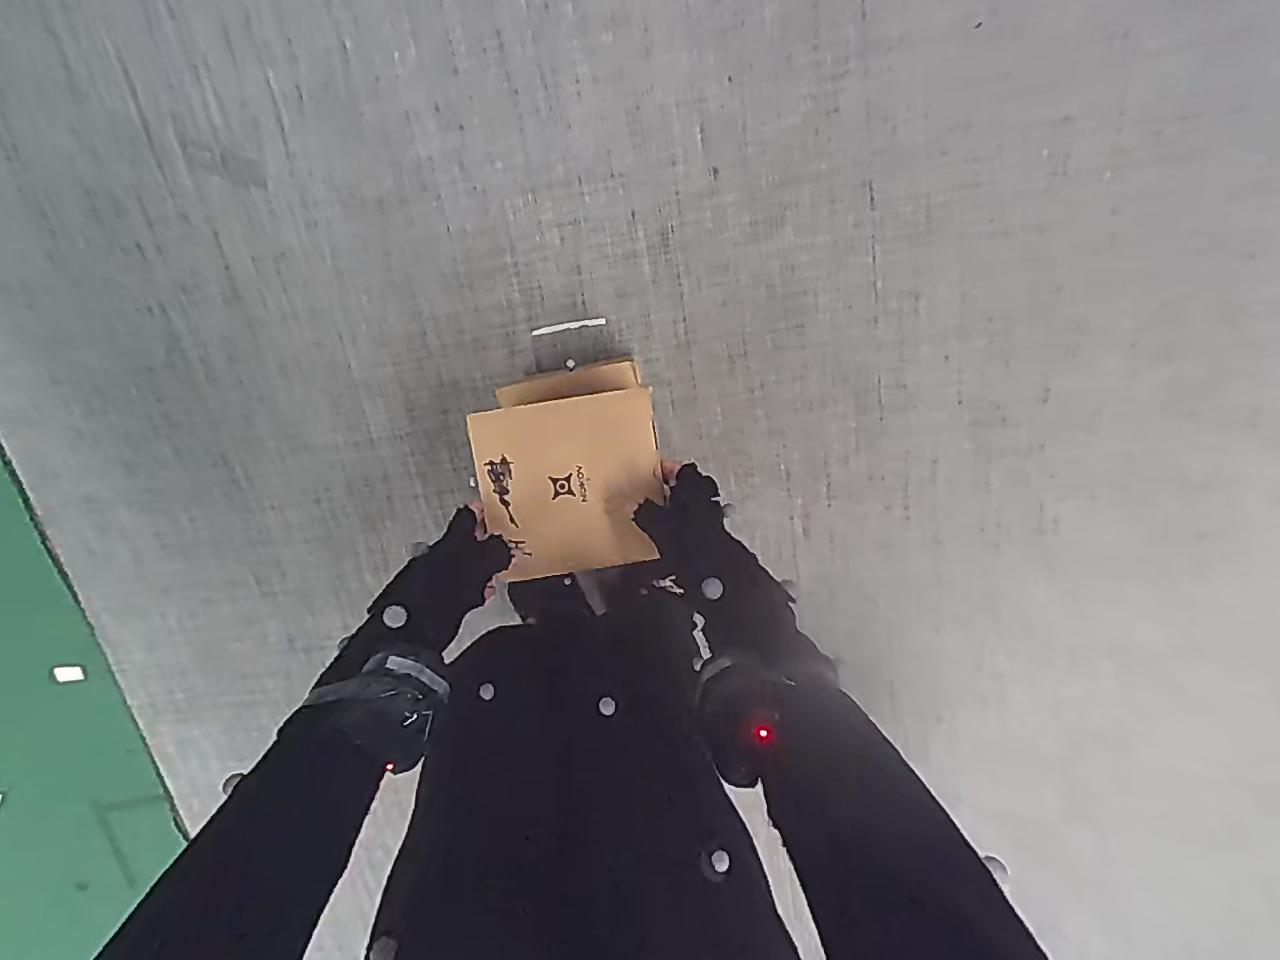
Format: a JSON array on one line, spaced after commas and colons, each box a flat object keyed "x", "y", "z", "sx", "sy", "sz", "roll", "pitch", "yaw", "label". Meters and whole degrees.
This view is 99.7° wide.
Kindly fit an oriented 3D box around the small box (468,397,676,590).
[{"x": -0.065, "y": 0.004, "z": 0.597, "sx": 0.179, "sy": 0.176, "sz": 0.168, "roll": -11, "pitch": 96, "yaw": 1, "label": "small box"}]

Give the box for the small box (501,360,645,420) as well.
[{"x": -0.073, "y": -0.069, "z": 0.757, "sx": 0.179, "sy": 0.176, "sz": 0.168, "roll": -12, "pitch": 104, "yaw": 3, "label": "small box"}]
